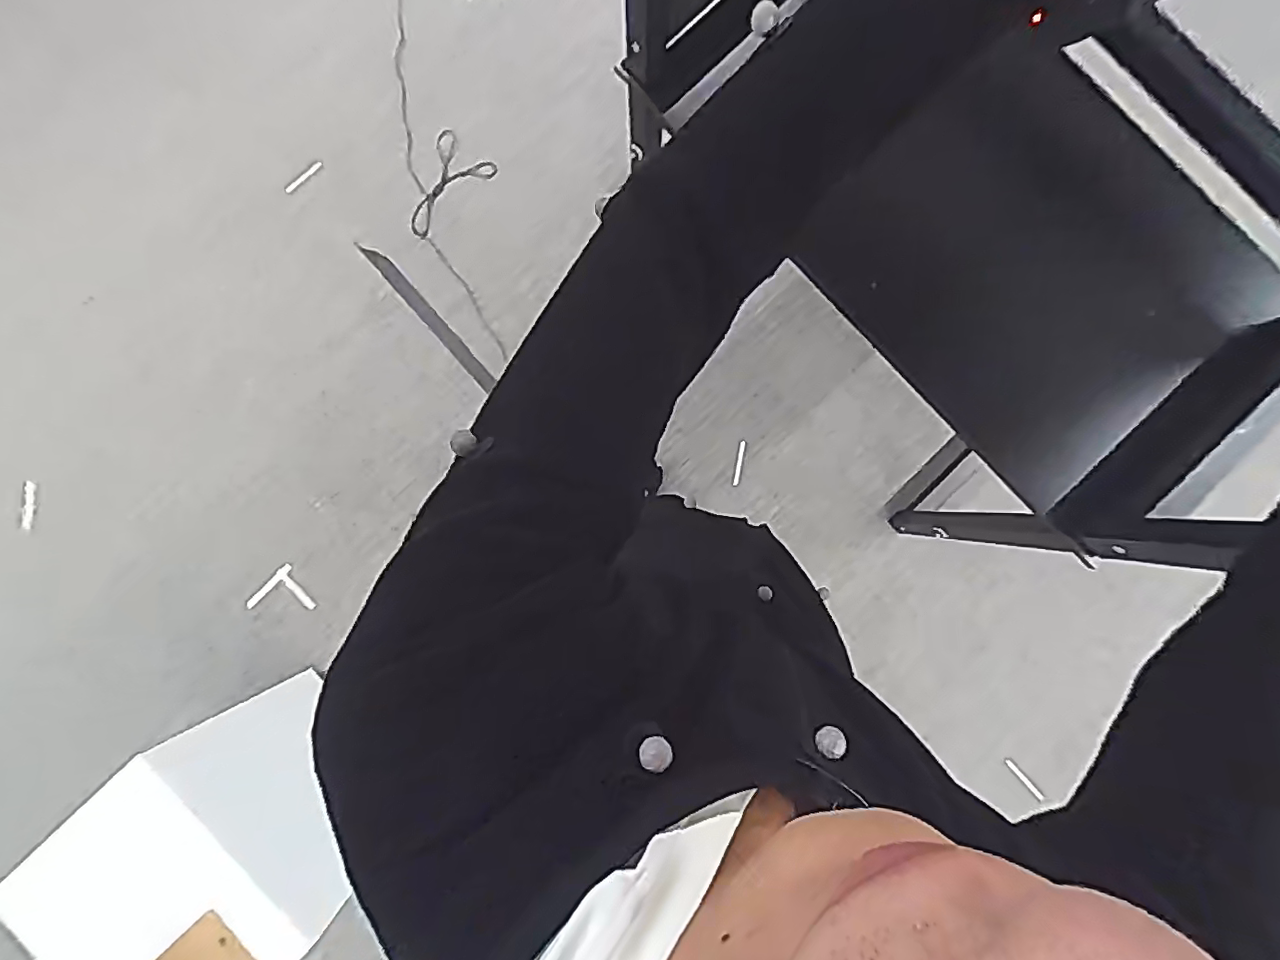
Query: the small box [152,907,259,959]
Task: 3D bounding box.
[{"bbox_3d":[-0.829,0.932,0.965,0.179,0.176,0.168,-43,88,0],"label":"small box"}]
